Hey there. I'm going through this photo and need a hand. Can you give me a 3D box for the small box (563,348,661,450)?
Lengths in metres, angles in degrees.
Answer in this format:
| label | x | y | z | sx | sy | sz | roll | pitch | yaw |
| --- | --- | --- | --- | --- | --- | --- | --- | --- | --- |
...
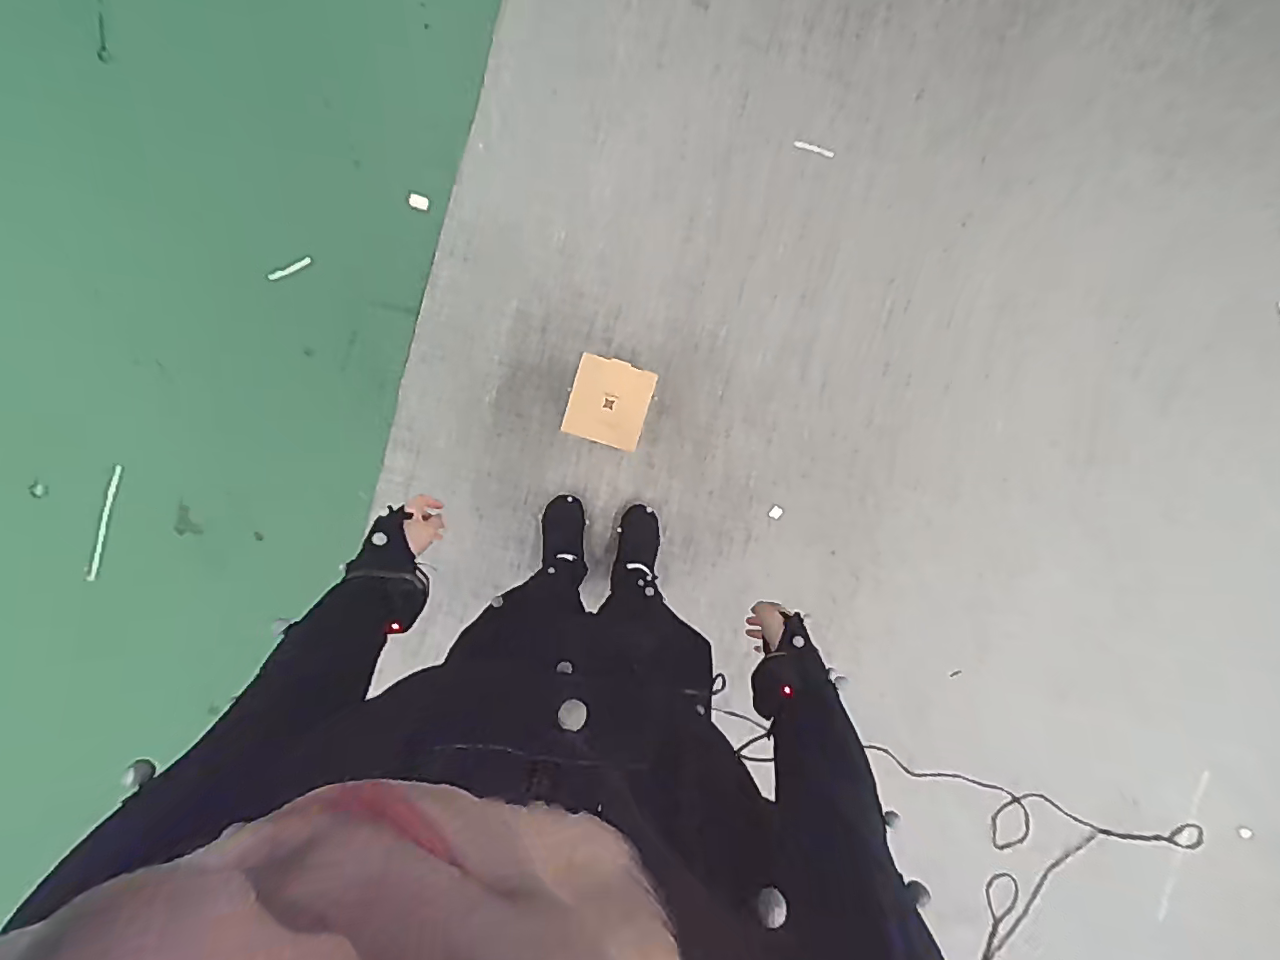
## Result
| label | x | y | z | sx | sy | sz | roll | pitch | yaw |
| --- | --- | --- | --- | --- | --- | --- | --- | --- | --- |
| small box | -0.061 | -0.174 | 1.197 | 0.168 | 0.176 | 0.179 | 16 | 94 | -2 |
